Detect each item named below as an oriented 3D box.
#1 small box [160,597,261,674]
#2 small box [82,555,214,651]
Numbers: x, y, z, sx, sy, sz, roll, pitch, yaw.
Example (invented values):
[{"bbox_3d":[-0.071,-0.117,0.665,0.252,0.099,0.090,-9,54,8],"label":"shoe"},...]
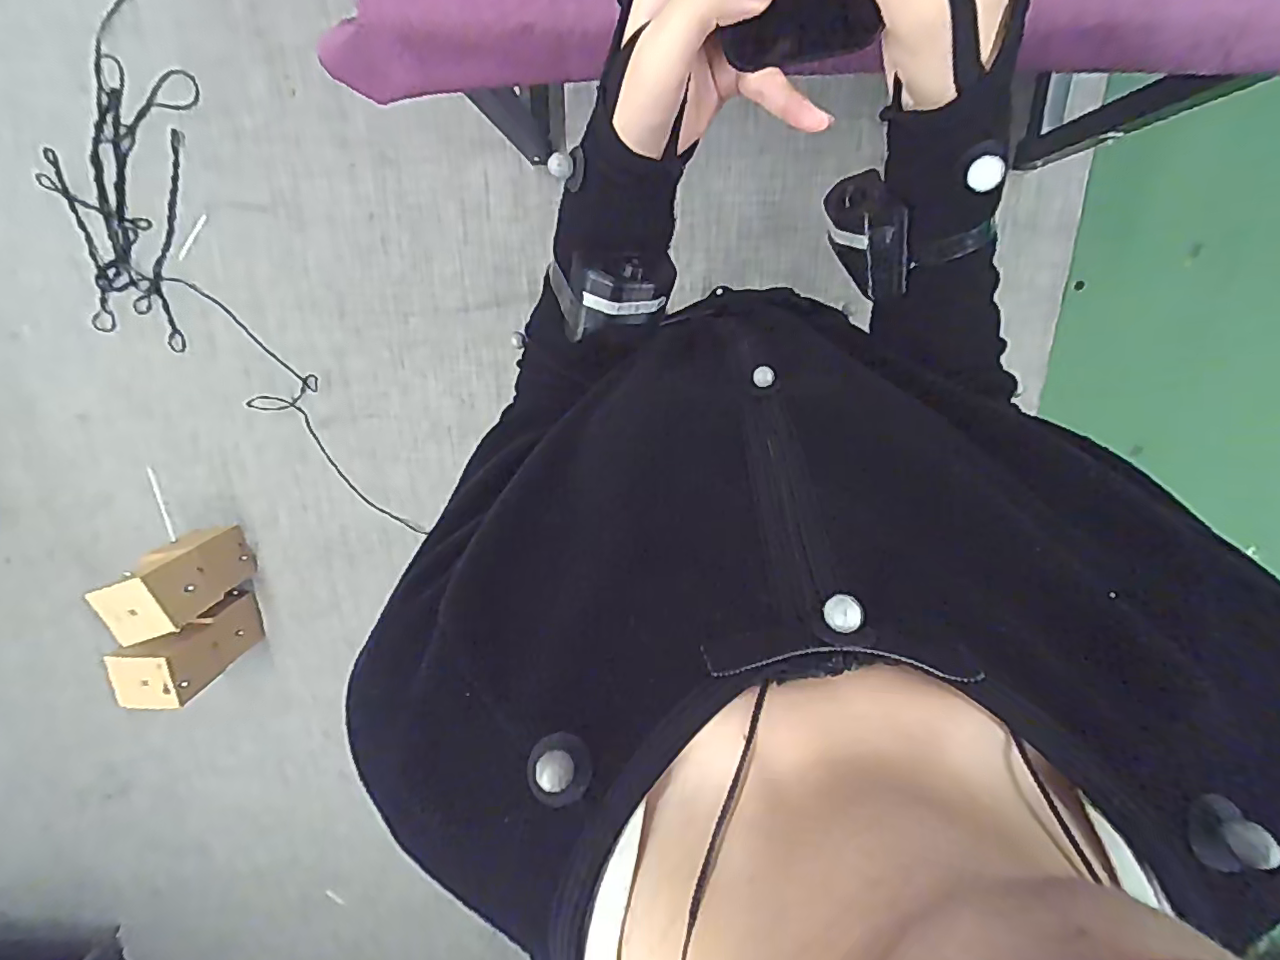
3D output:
[{"bbox_3d":[-1.314,0.470,1.659,0.168,0.176,0.179,0,108,4],"label":"small box"},{"bbox_3d":[-1.291,0.320,1.441,0.179,0.176,0.168,-17,106,9],"label":"small box"}]
